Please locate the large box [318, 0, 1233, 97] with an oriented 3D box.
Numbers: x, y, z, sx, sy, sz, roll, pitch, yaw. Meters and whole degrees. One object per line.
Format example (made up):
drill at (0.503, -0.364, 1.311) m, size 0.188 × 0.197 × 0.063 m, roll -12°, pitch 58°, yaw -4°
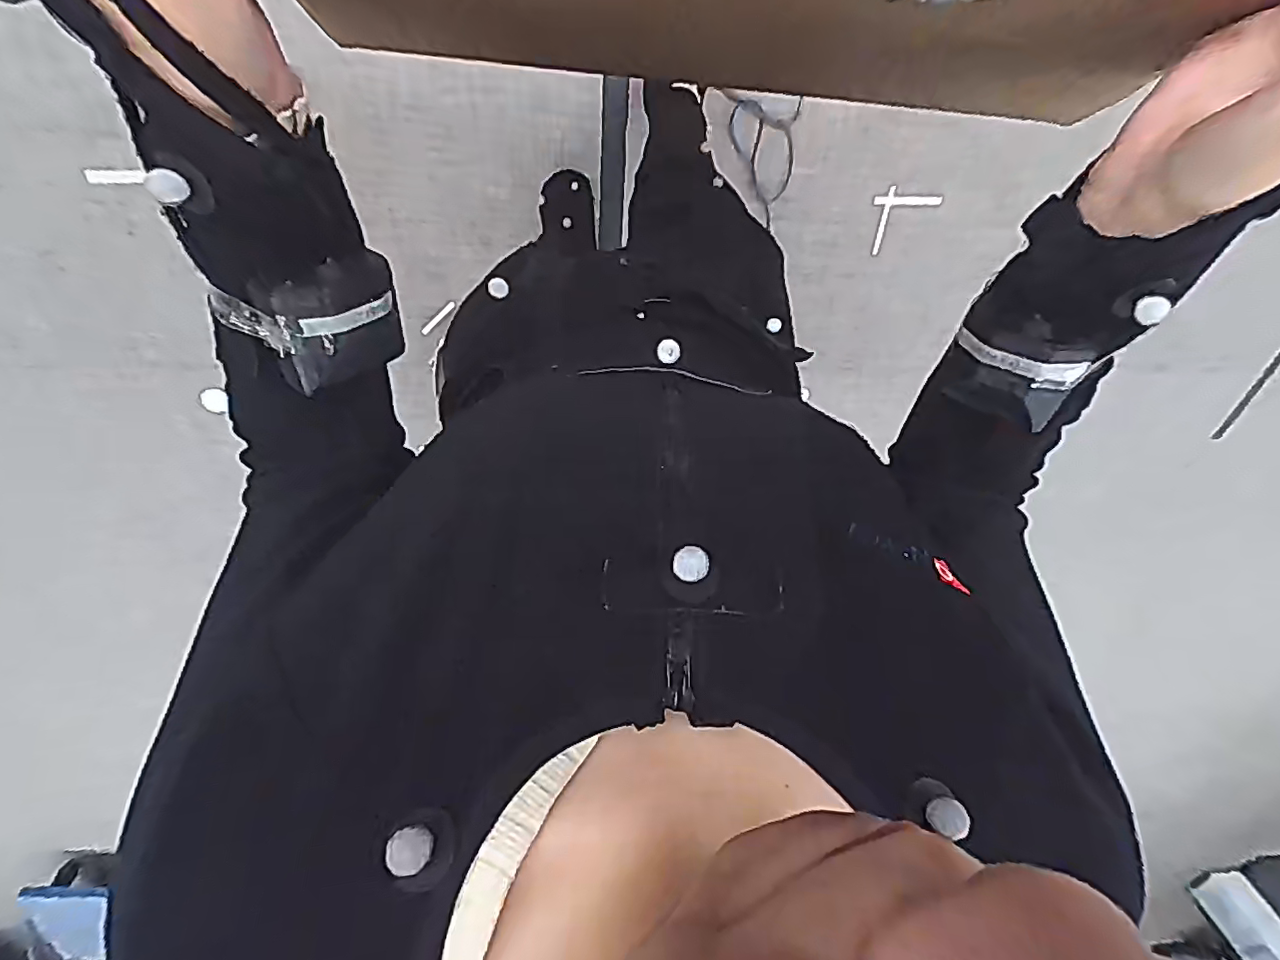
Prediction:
large box at (0.055, -0.345, 0.120) m, size 0.408 × 0.320 × 0.320 m, roll 3°, pitch 101°, yaw -3°
